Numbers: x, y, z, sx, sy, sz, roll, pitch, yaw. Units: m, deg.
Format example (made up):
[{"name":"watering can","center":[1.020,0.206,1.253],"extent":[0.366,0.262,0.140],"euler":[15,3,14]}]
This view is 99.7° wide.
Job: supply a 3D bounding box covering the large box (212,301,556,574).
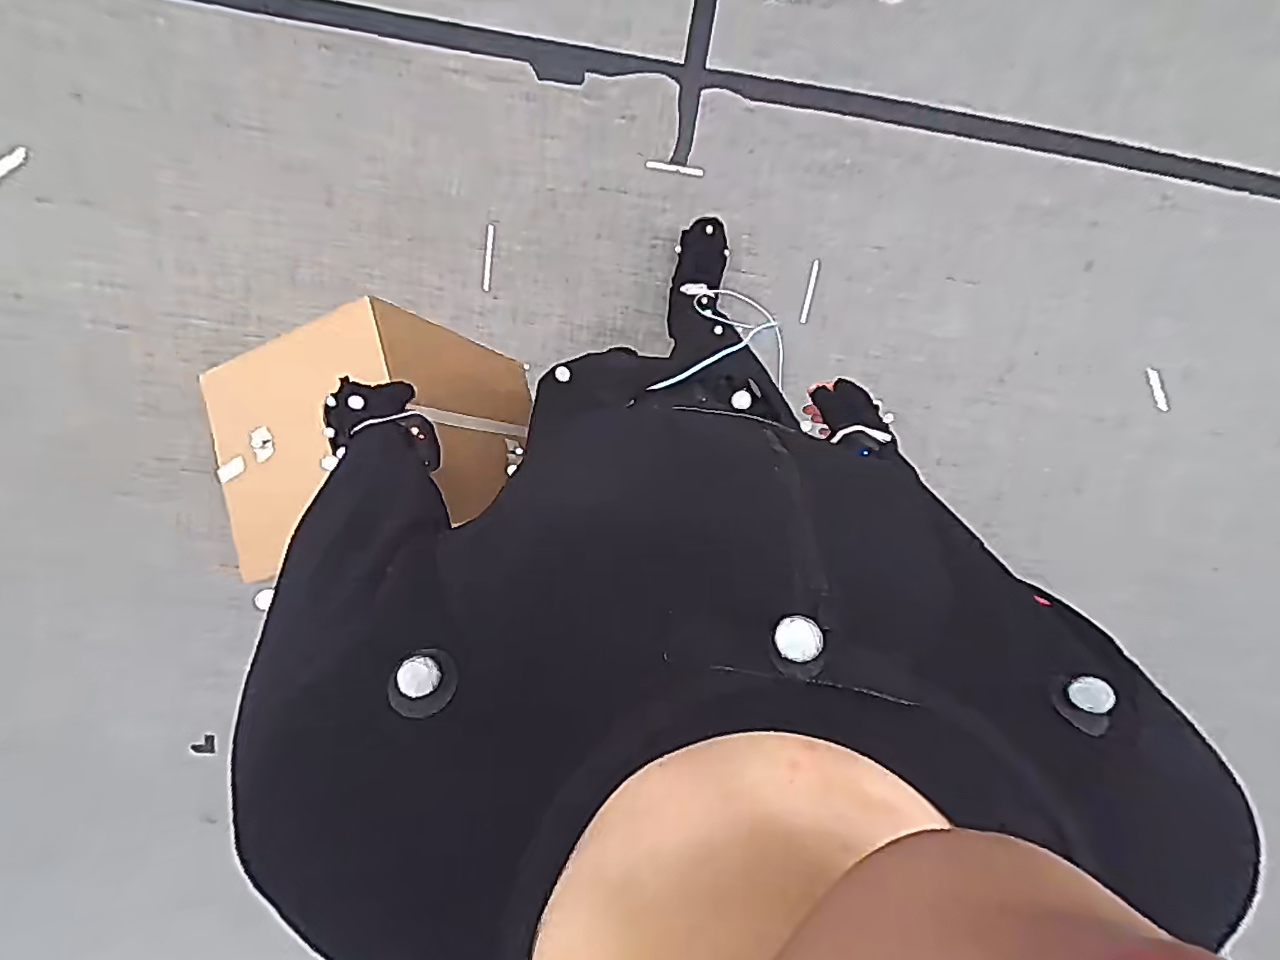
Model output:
[{"name":"large box","center":[-0.400,-0.052,0.929],"extent":[0.320,0.408,0.320],"euler":[-17,85,16]}]
